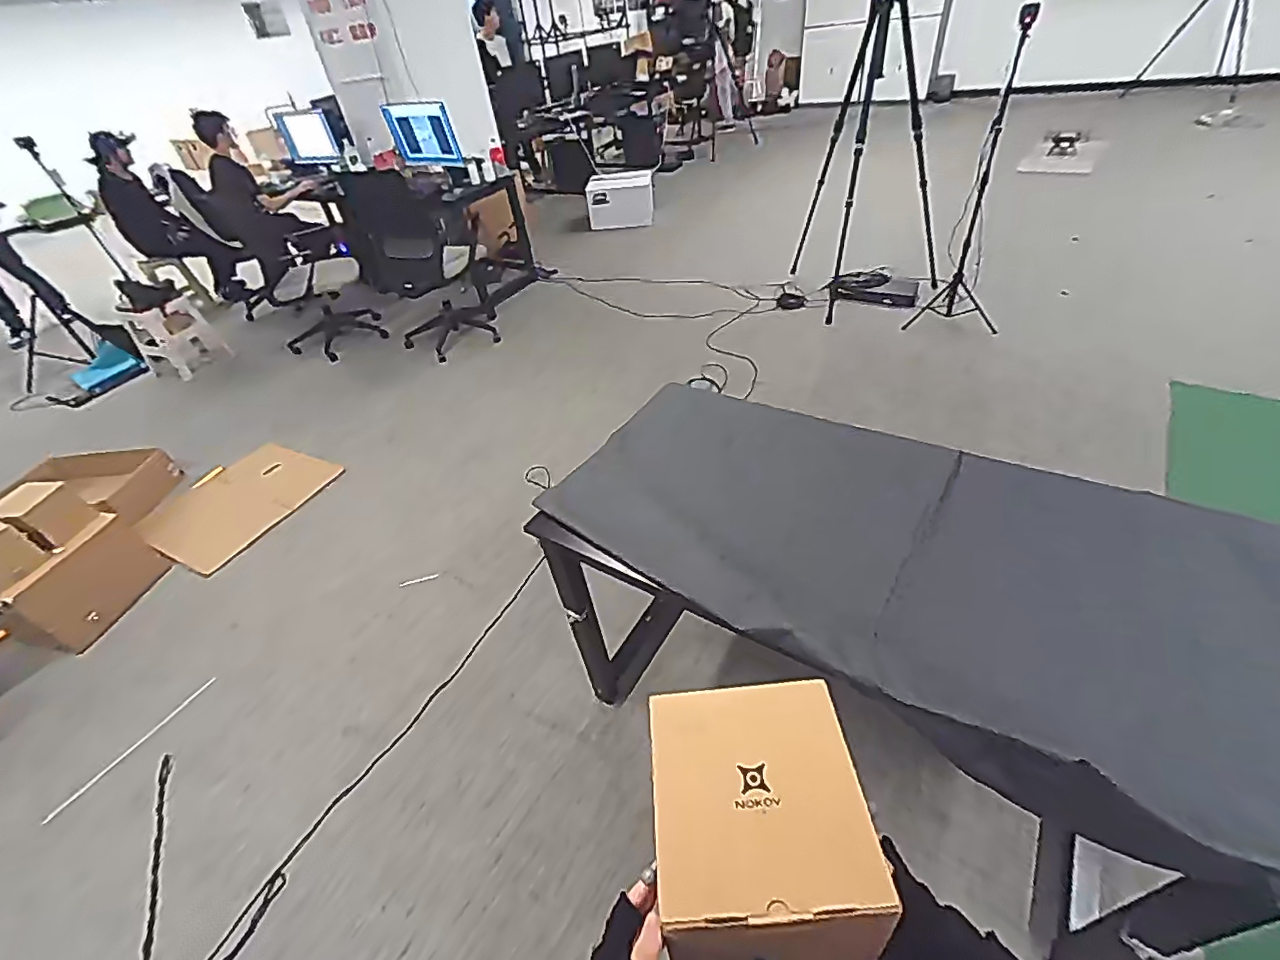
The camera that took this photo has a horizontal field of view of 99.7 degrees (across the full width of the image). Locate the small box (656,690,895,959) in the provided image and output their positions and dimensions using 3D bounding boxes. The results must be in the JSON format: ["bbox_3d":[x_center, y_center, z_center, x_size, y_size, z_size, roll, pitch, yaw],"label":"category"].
[{"bbox_3d":[0.104,0.321,0.493,0.168,0.176,0.179,-6,37,3],"label":"small box"}]
